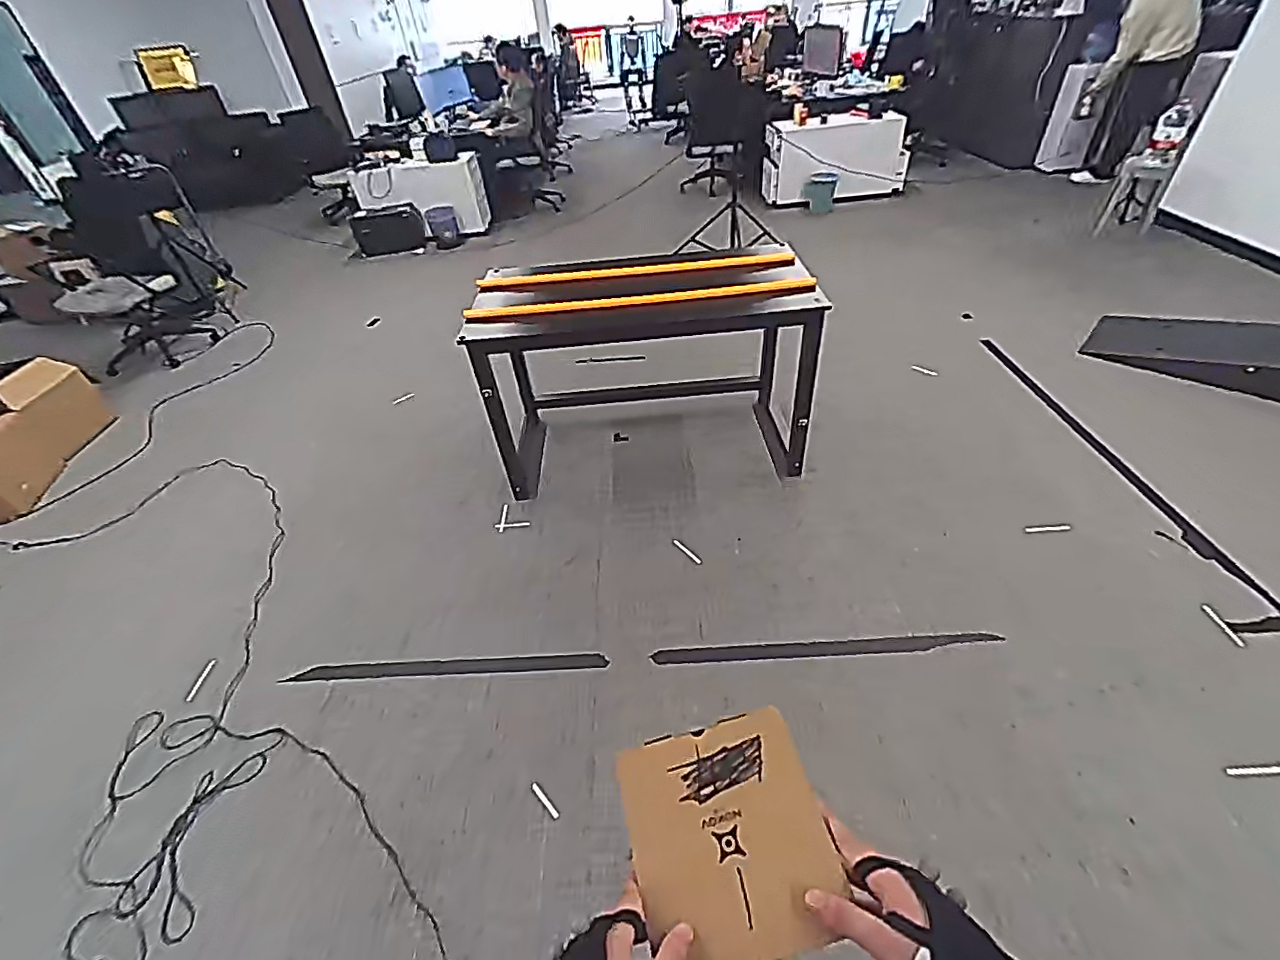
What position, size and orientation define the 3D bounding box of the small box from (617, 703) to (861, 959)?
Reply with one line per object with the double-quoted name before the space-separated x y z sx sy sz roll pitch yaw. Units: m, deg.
"small box" 0.083 0.349 0.523 0.168 0.176 0.179 -15 49 -3
